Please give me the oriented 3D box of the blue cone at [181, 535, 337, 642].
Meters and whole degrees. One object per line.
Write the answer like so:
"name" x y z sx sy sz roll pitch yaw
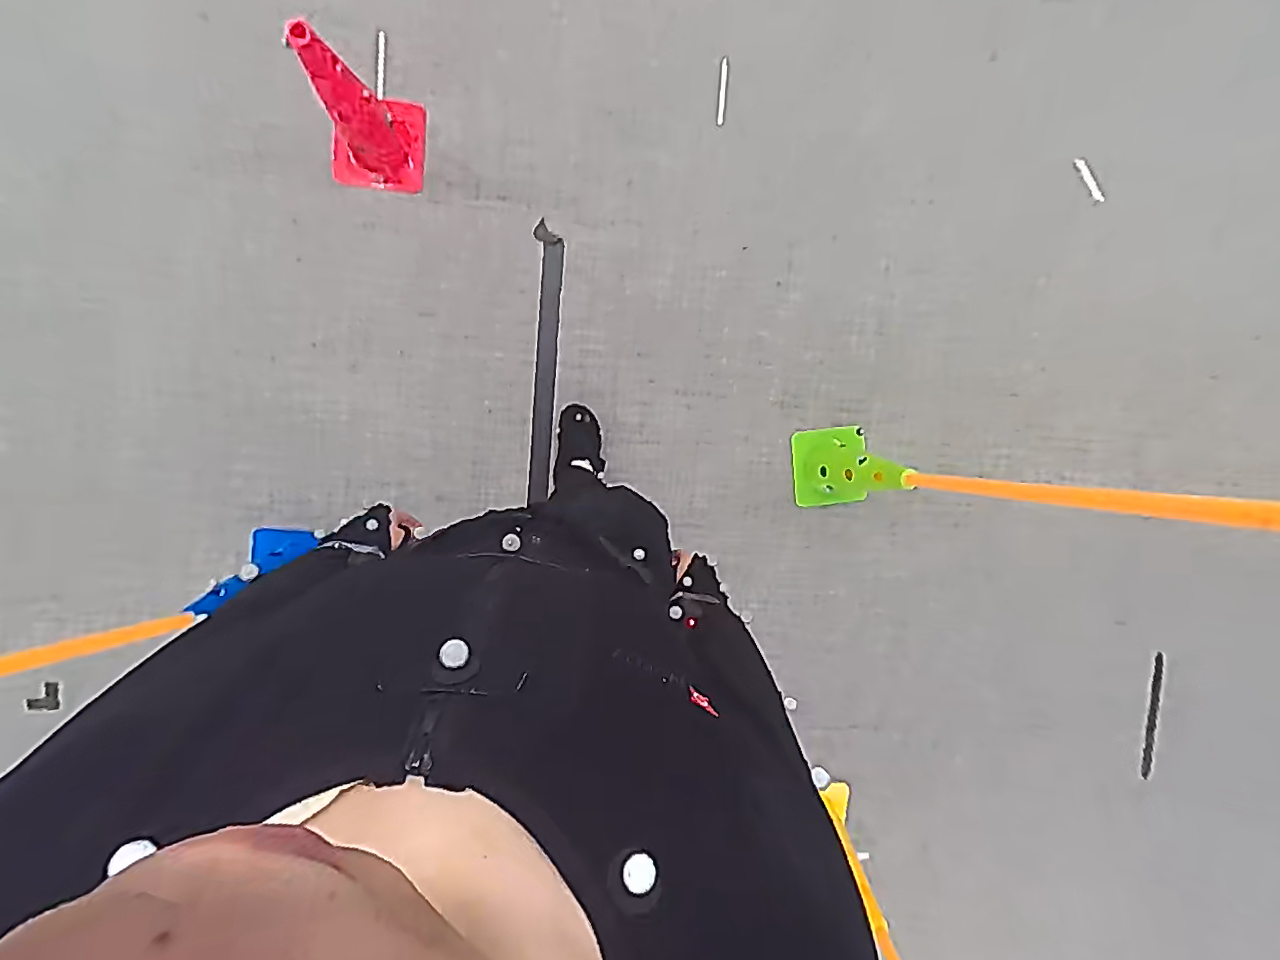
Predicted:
"blue cone" -0.818 0.245 1.145 0.193 0.380 0.192 6 95 -6

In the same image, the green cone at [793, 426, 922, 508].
"green cone" 0.519 -0.014 1.245 0.200 0.368 0.202 -7 97 -5
